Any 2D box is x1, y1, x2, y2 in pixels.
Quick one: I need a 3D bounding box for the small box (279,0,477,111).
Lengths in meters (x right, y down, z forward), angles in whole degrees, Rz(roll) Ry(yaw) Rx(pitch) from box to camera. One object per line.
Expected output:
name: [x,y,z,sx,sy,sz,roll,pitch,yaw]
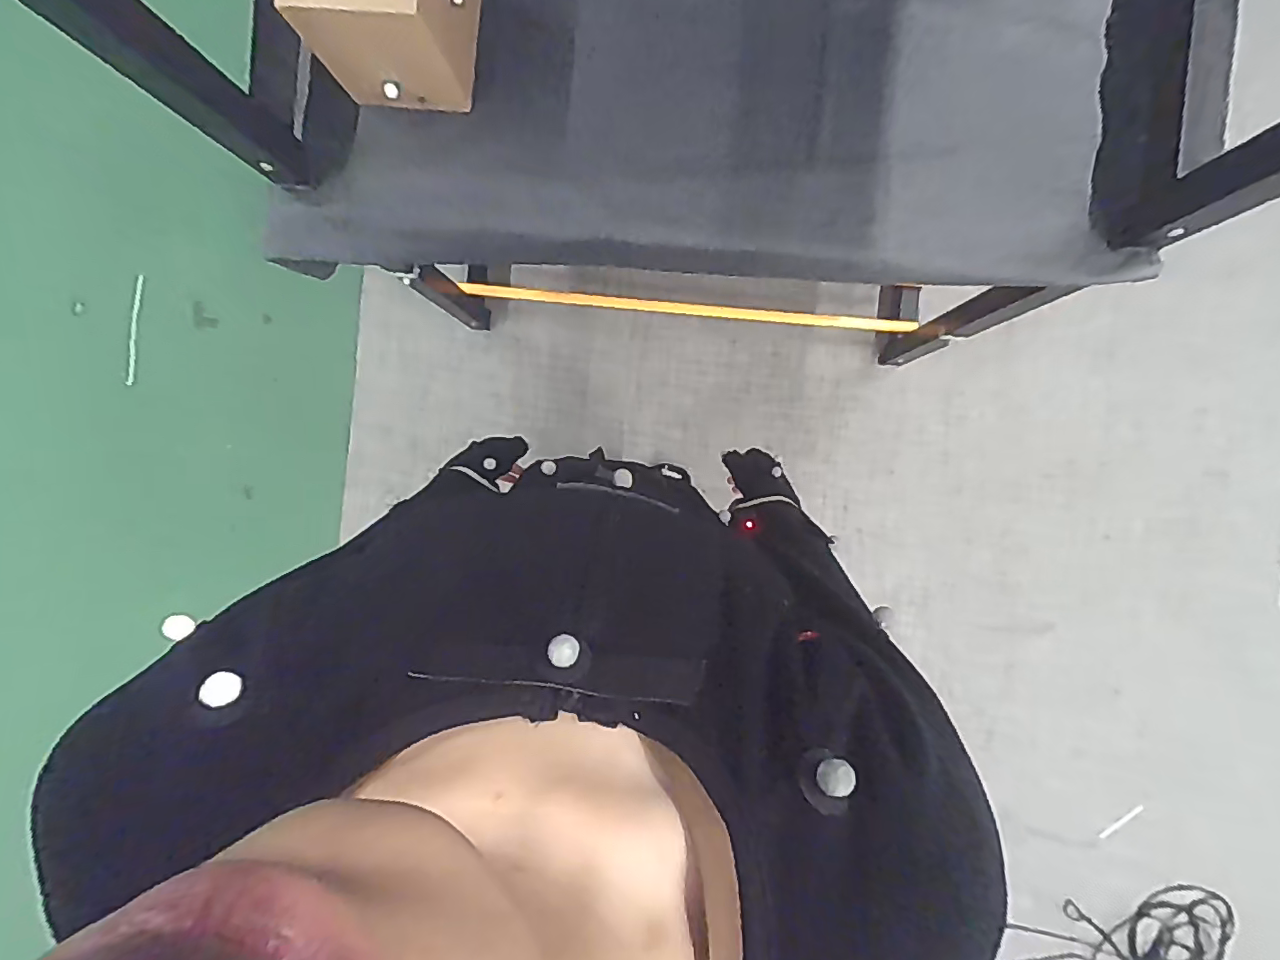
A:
small box: [-0.312,-0.607,0.673,0.168,0.176,0.179,6,92,2]
